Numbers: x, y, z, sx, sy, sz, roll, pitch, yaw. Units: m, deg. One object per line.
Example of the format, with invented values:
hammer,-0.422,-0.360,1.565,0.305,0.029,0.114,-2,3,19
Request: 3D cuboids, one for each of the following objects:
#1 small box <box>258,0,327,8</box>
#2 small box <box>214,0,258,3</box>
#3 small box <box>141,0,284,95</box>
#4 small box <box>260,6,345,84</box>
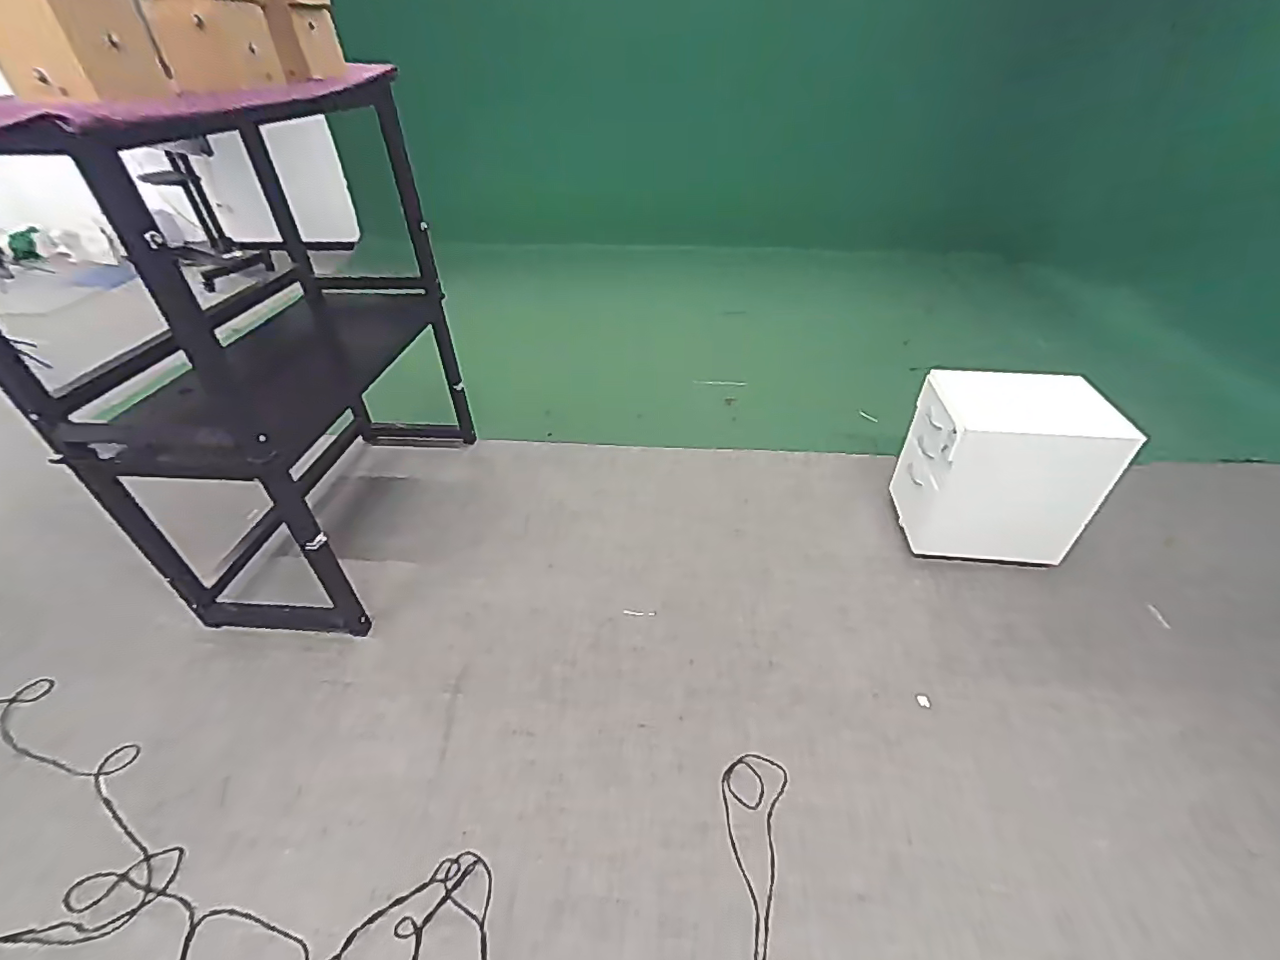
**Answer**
small box,-0.994,-1.386,1.468,0.168,0.176,0.179,2,40,7
small box,-0.995,-1.166,1.199,0.168,0.176,0.179,3,40,7
small box,-1.005,-1.033,1.294,0.179,0.176,0.168,4,38,6
small box,-1.001,-1.263,1.575,0.168,0.176,0.179,5,40,10
